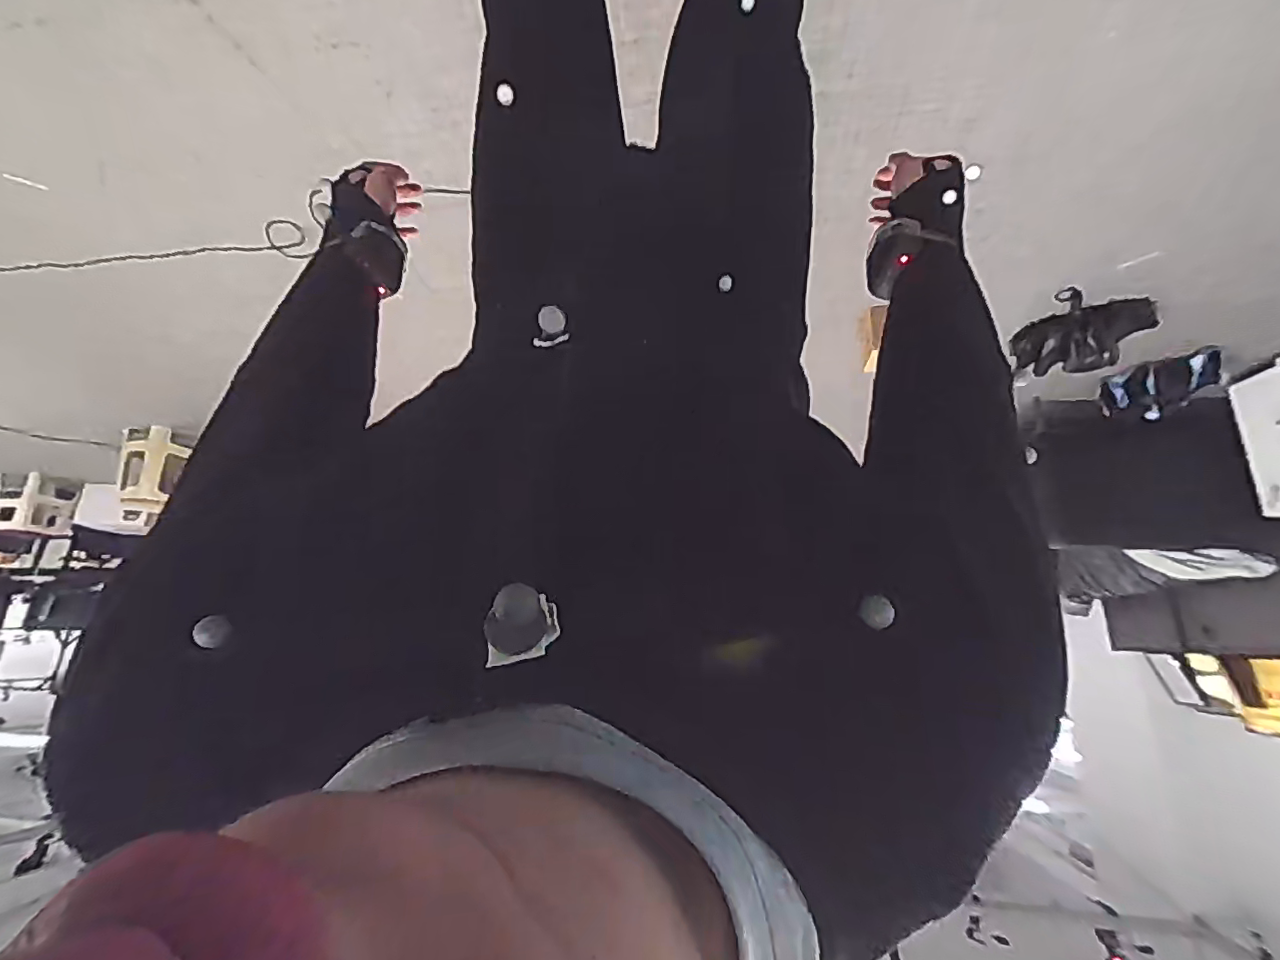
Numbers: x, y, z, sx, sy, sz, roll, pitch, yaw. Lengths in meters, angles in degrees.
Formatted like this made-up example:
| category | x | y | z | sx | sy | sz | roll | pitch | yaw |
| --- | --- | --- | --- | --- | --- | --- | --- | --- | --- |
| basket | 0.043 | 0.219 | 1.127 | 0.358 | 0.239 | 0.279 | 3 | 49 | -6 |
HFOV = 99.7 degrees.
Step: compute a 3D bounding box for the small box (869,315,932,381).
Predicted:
| category | x | y | z | sx | sy | sz | roll | pitch | yaw |
| --- | --- | --- | --- | --- | --- | --- | --- | --- | --- |
| small box | 0.921 | -0.474 | 1.928 | 0.168 | 0.176 | 0.179 | 0 | 162 | 12 |
